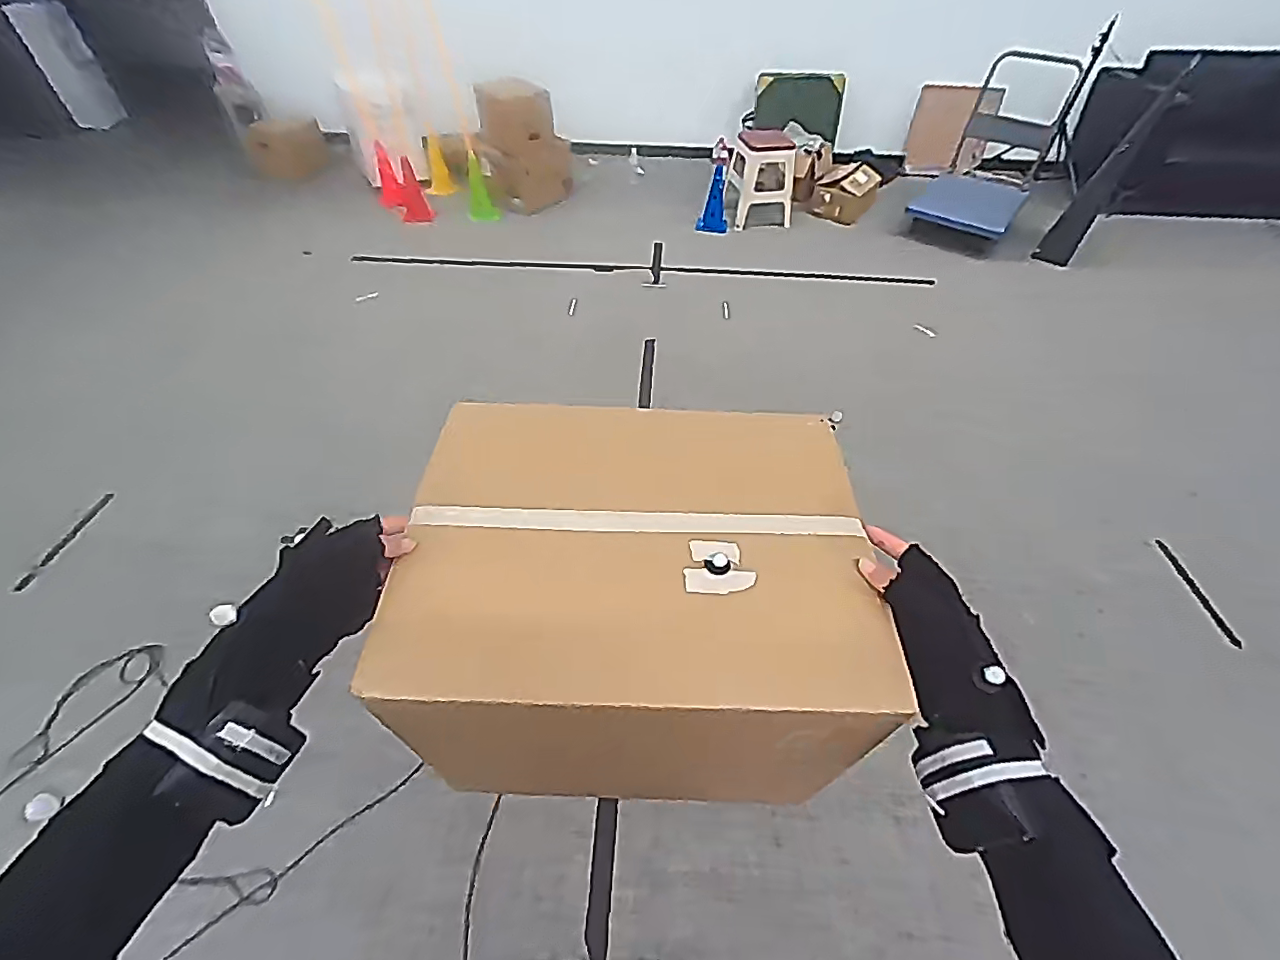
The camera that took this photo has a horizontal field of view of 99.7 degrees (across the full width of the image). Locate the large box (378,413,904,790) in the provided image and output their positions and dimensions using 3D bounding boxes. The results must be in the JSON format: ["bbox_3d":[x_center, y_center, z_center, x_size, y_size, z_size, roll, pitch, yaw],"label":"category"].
[{"bbox_3d":[-0.003,0.143,0.609,0.408,0.320,0.320,2,49,-1],"label":"large box"}]
